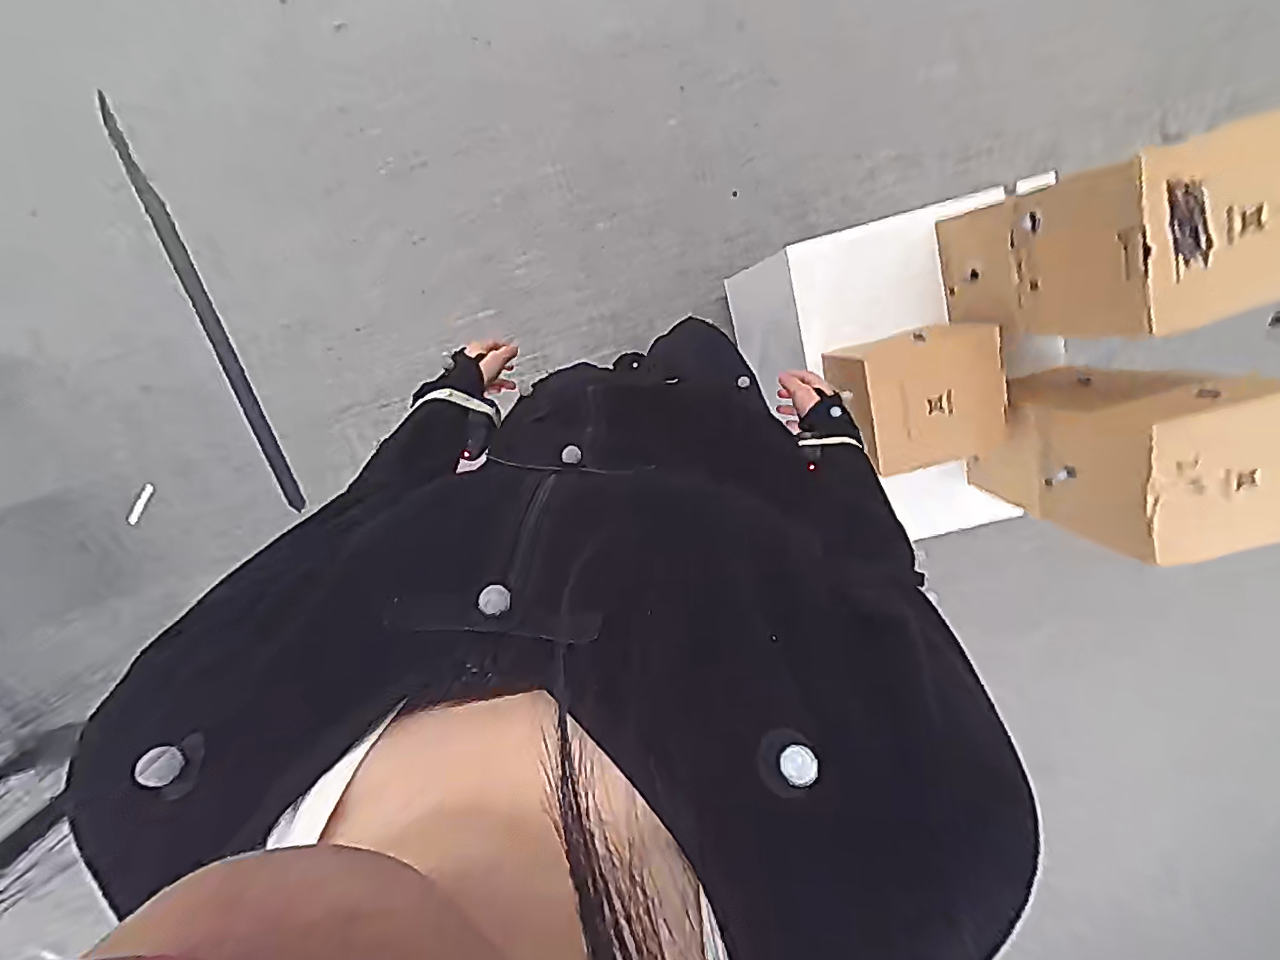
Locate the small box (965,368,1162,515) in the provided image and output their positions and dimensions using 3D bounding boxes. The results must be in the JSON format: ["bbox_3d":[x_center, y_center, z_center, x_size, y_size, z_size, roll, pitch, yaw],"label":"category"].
[{"bbox_3d":[0.608,-0.064,0.798,0.179,0.176,0.168,-13,105,3],"label":"small box"}]

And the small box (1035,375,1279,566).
[{"bbox_3d":[0.613,-0.022,0.638,0.179,0.176,0.168,-13,105,4],"label":"small box"}]

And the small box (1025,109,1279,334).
[{"bbox_3d":[0.544,-0.258,0.569,0.179,0.176,0.168,-17,106,4],"label":"small box"}]
